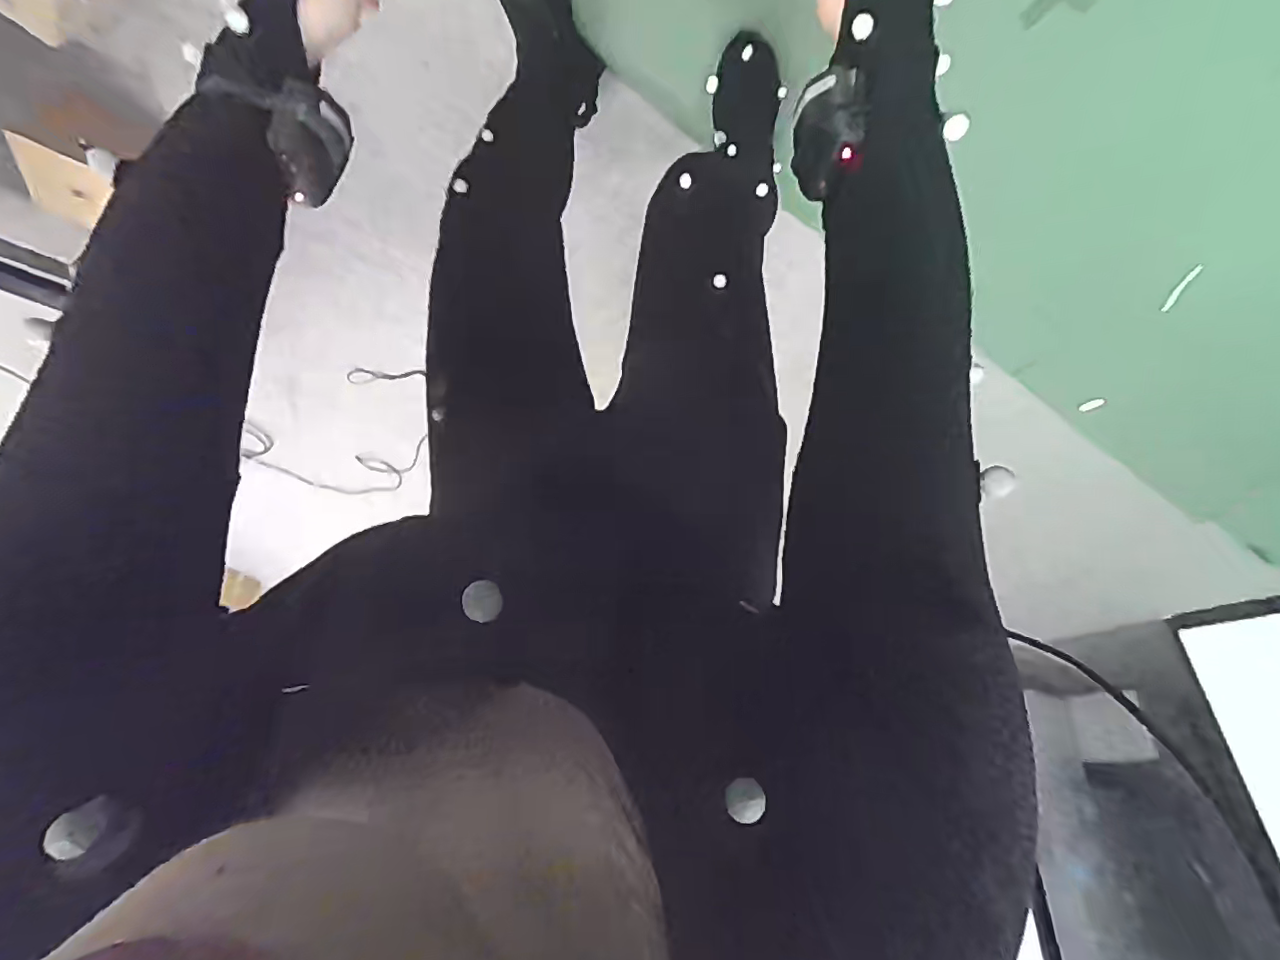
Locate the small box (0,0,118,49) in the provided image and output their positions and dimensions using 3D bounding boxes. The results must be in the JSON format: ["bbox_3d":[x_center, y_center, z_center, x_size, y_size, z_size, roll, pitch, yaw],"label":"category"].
[{"bbox_3d":[-0.851,-0.762,0.740,0.179,0.176,0.168,-26,136,38],"label":"small box"}]
